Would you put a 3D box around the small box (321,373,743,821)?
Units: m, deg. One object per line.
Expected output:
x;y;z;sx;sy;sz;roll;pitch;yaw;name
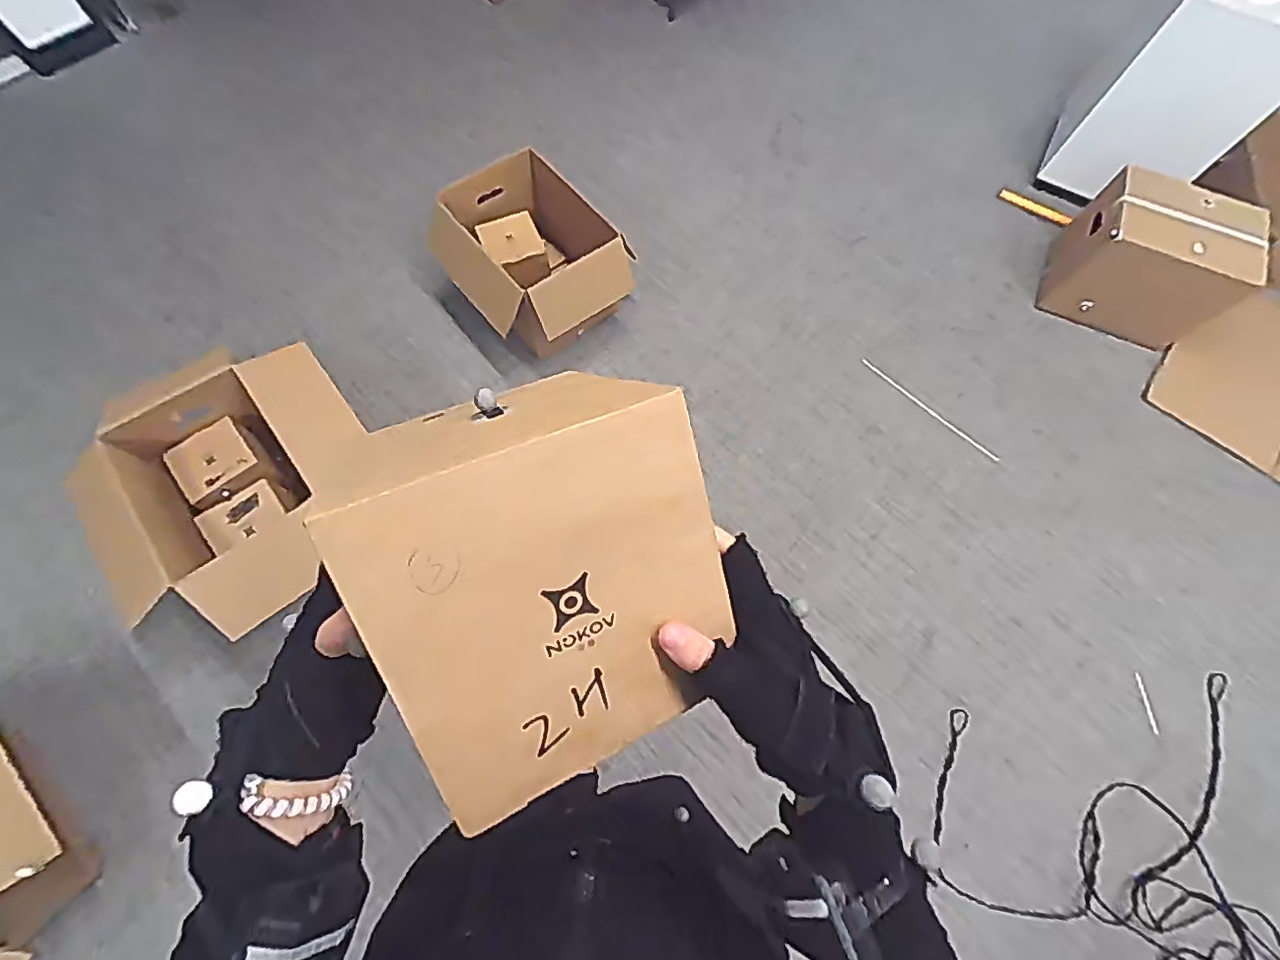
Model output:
-0.065;0.040;0.325;0.168;0.176;0.179;-21;111;-19;small box
